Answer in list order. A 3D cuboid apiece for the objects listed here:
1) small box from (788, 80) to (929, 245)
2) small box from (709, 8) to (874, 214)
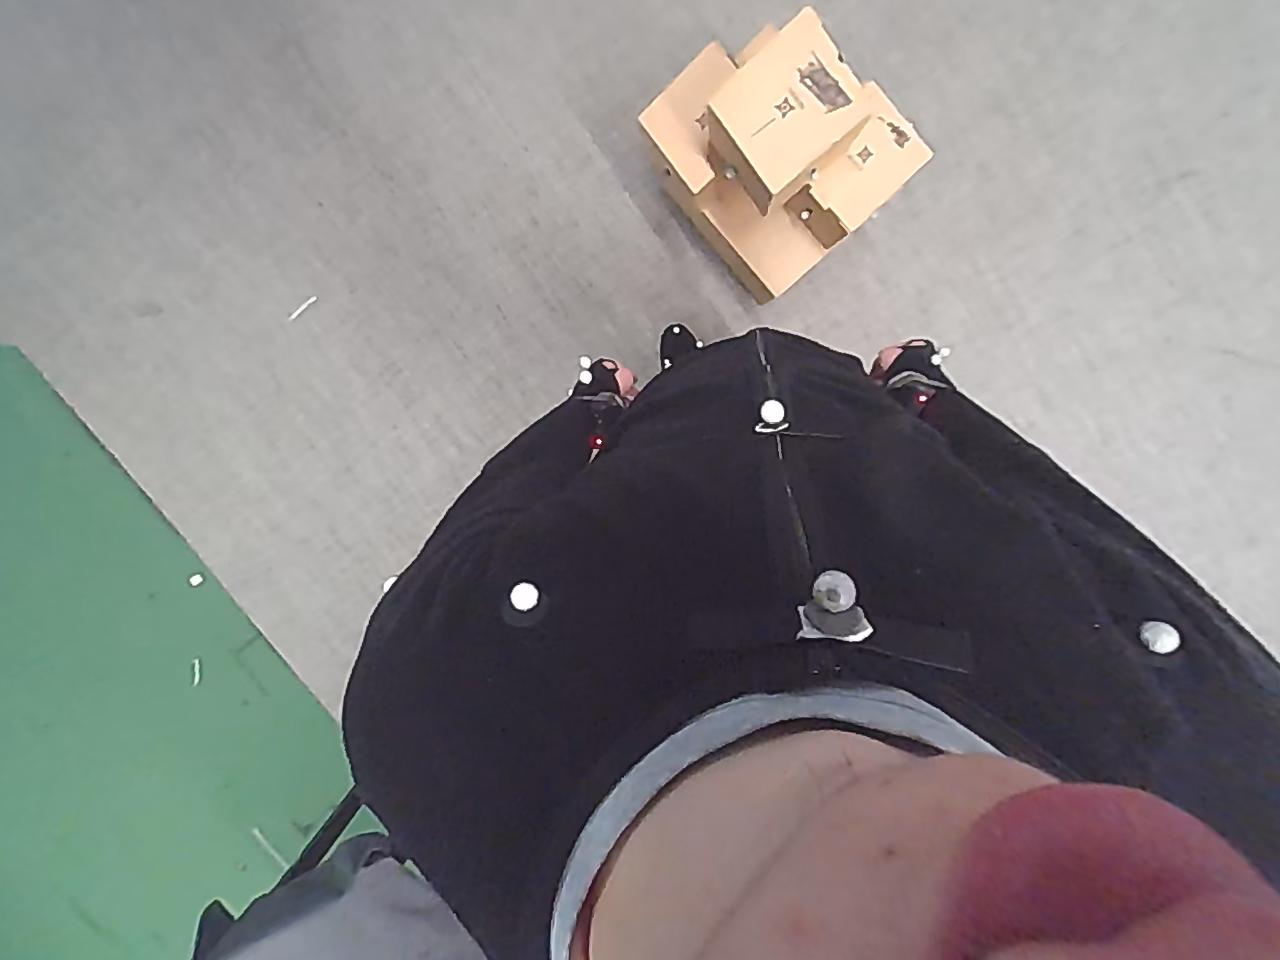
[{"bbox_3d":[0.378,-0.562,0.990,0.179,0.176,0.168,-42,96,15],"label":"small box"},{"bbox_3d":[0.224,-0.552,0.841,0.179,0.176,0.168,-36,97,17],"label":"small box"}]
